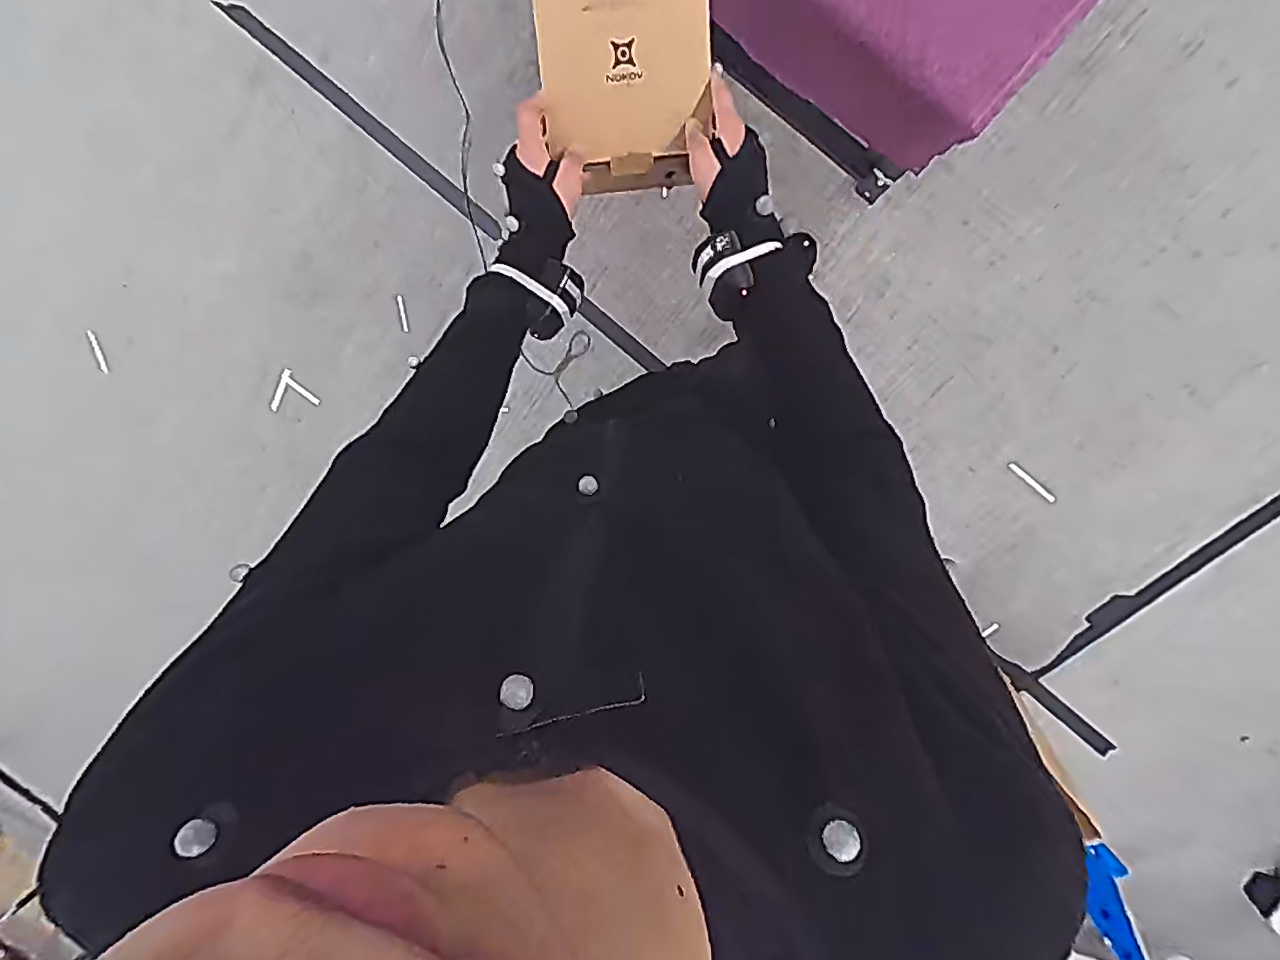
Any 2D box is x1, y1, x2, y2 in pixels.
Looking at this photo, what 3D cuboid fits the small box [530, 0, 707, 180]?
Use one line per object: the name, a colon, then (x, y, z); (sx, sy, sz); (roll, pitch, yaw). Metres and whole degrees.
small box: (-0.013, -0.436, 0.583); (0.168, 0.176, 0.179); (-3, 109, 5)
